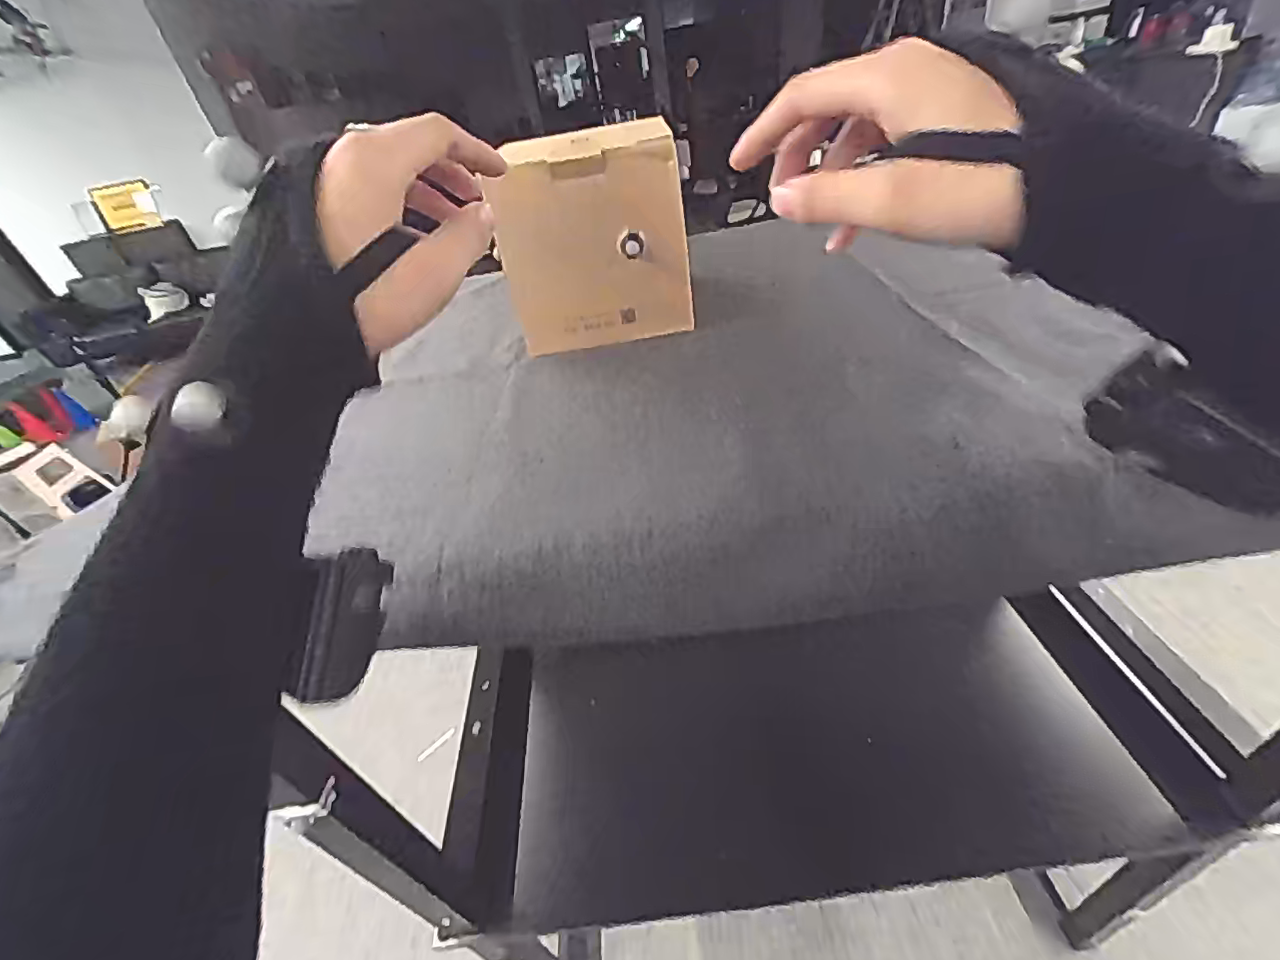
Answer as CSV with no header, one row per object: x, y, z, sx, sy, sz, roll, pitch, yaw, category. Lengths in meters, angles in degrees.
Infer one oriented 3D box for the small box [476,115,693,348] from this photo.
-0.042,-0.242,0.539,0.168,0.176,0.179,-8,38,4,small box
